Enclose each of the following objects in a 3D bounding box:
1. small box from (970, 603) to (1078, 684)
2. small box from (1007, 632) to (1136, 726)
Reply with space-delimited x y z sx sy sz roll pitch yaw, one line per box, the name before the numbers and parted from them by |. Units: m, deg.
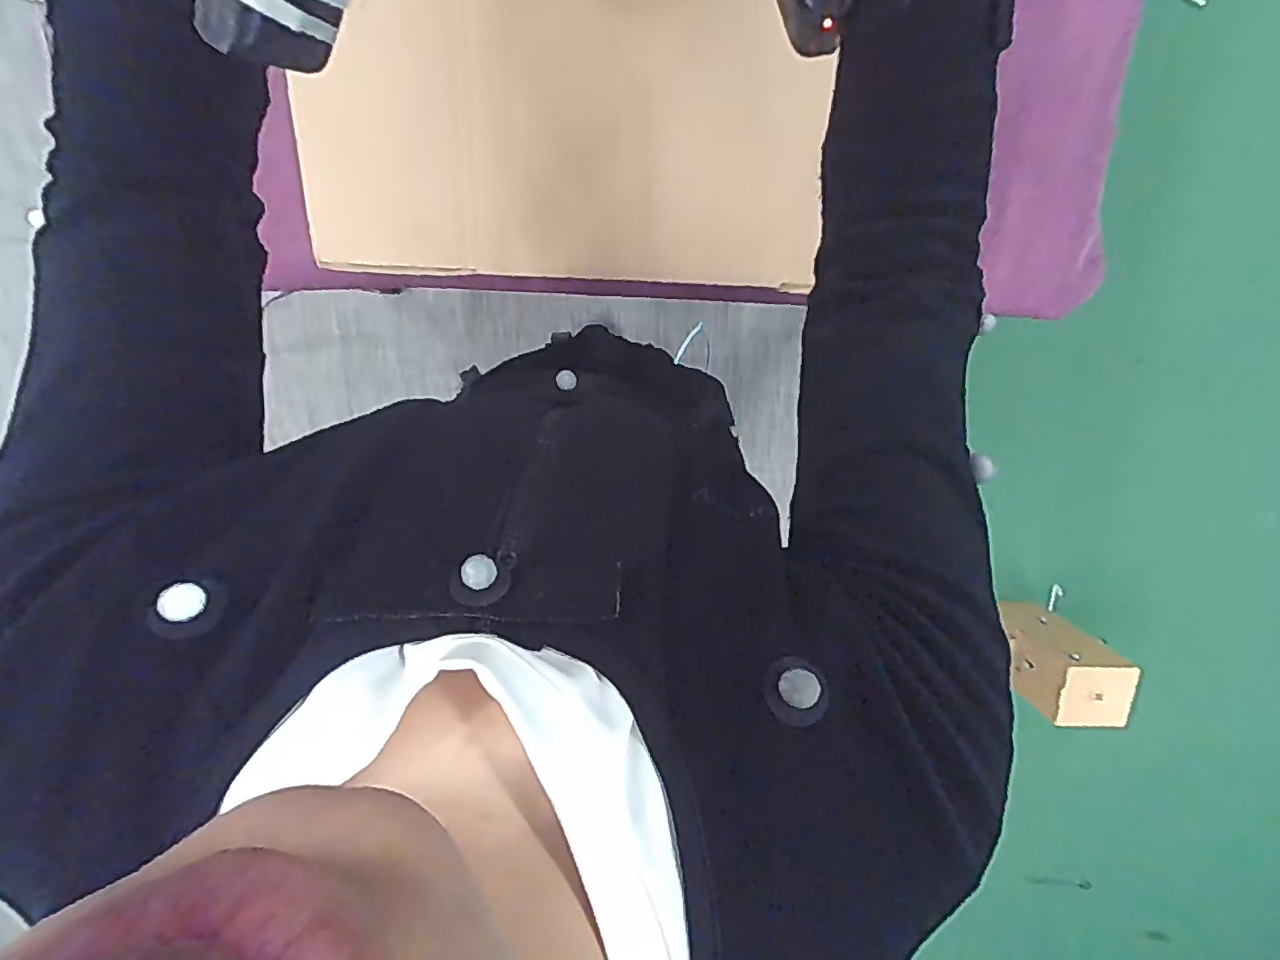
small box | 1.087 0.464 1.540 0.179 0.176 0.168 3 104 -1
small box | 1.090 0.503 1.381 0.179 0.176 0.168 1 105 -1
